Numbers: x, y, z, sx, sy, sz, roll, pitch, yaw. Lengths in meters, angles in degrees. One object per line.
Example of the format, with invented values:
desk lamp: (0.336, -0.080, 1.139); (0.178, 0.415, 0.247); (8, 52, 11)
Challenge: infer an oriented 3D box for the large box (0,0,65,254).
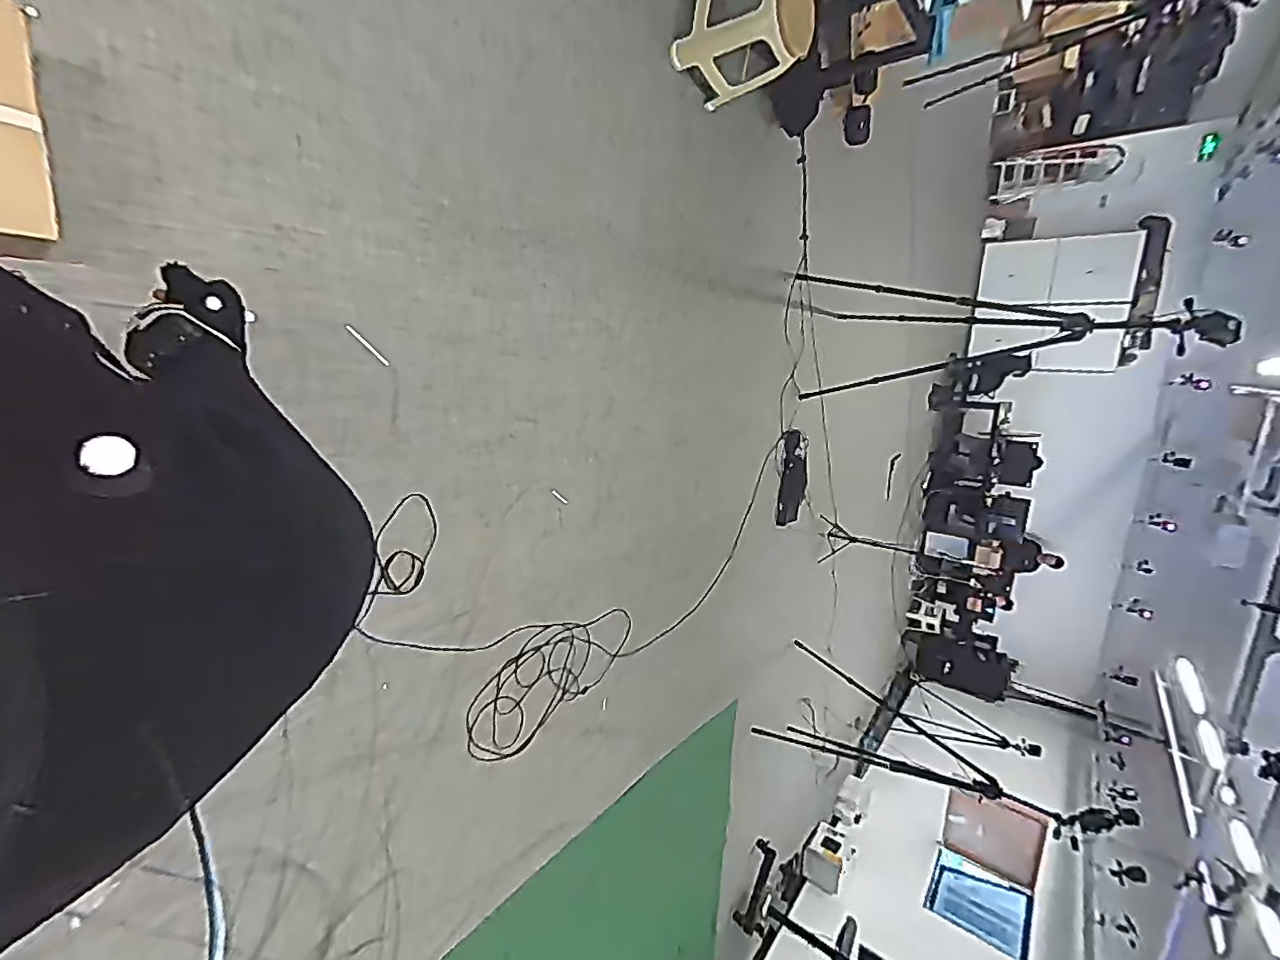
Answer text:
large box: (-1.099, -0.513, 0.721); (0.408, 0.320, 0.320); (-11, 108, -50)
